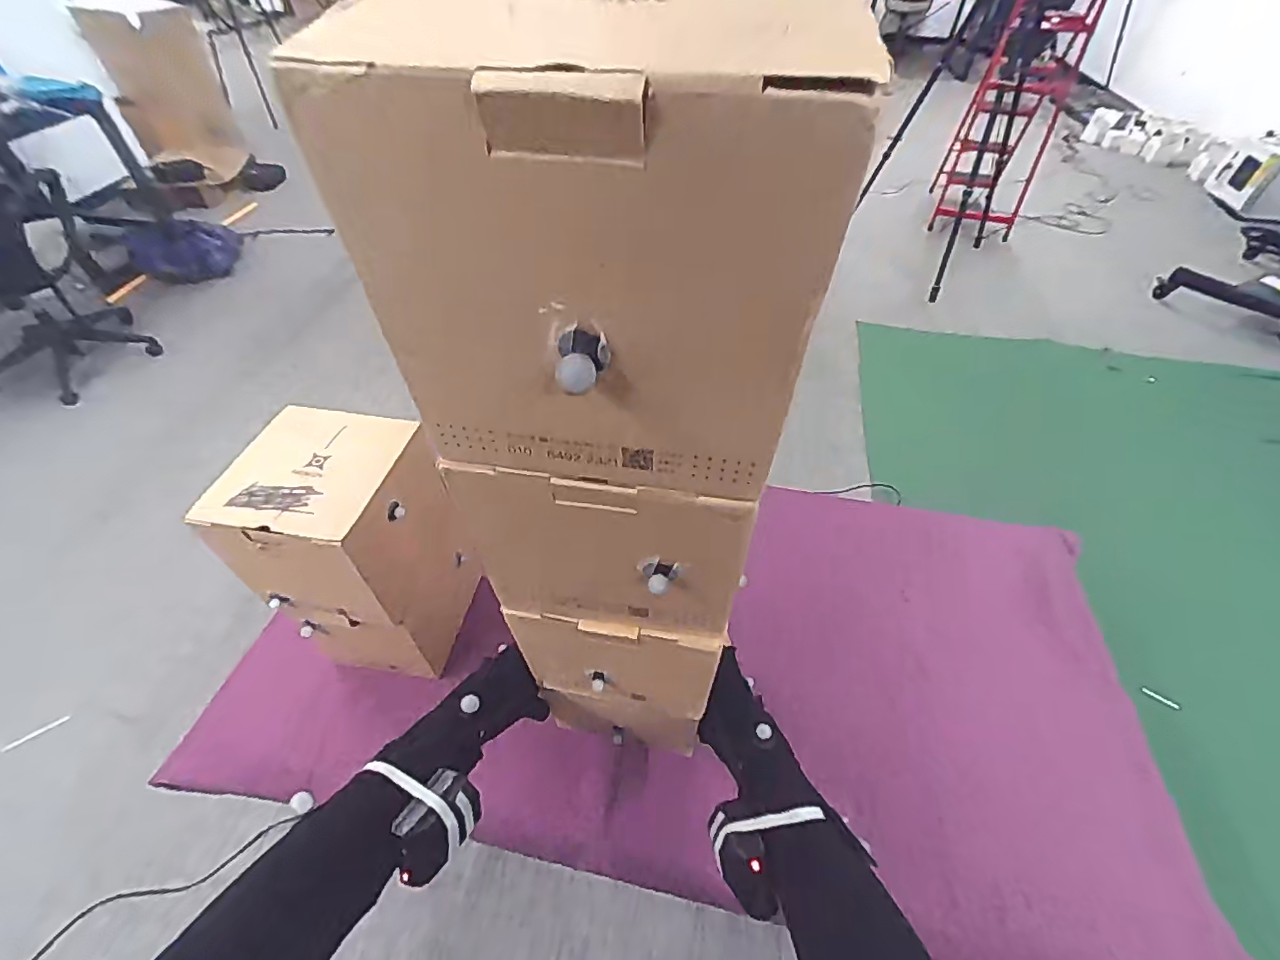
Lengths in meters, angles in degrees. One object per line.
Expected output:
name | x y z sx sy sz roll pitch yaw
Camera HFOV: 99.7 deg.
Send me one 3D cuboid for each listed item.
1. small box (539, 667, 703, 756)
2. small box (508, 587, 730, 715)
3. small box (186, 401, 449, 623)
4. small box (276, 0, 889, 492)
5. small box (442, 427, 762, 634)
small box | -0.002 0.195 0.630 0.168 0.176 0.179 9 53 9
small box | -0.004 0.094 0.502 0.168 0.176 0.179 9 53 7
small box | -0.340 0.039 0.619 0.168 0.176 0.179 11 49 6
small box | -0.005 -0.115 0.250 0.168 0.176 0.179 8 54 5
small box | -0.007 -0.011 0.377 0.168 0.176 0.179 8 53 6
